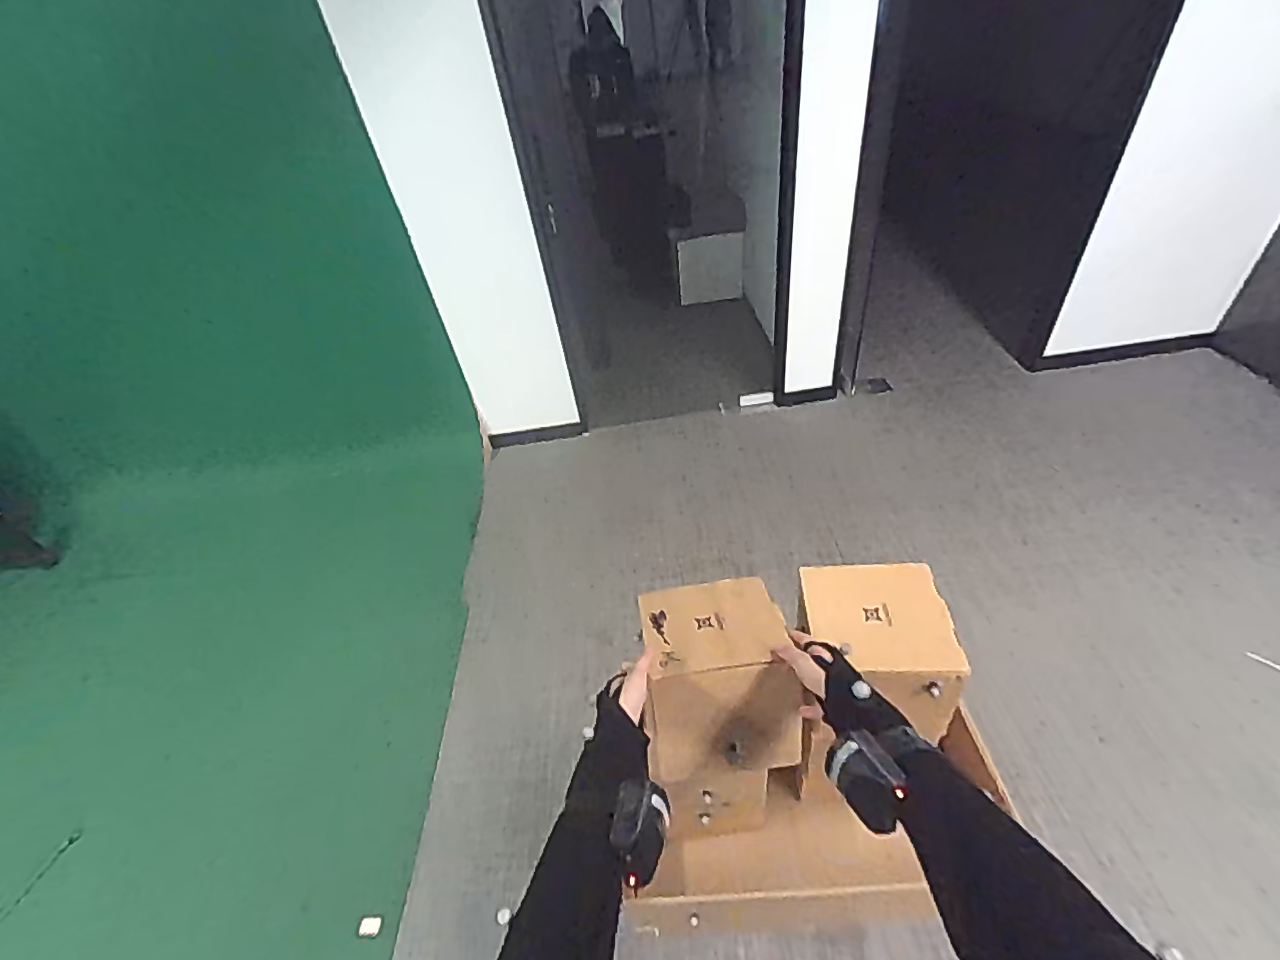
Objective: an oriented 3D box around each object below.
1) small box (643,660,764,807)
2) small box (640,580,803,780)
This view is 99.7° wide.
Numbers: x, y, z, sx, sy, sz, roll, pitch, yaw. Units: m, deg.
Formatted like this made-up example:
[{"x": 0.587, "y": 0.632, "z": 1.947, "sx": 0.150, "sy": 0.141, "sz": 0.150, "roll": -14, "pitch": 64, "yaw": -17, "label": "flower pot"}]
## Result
[{"x": 0.099, "y": 0.395, "z": 0.851, "sx": 0.168, "sy": 0.176, "sz": 0.179, "roll": -7, "pitch": 42, "yaw": 3, "label": "small box"}, {"x": 0.096, "y": 0.252, "z": 0.697, "sx": 0.179, "sy": 0.176, "sz": 0.168, "roll": -7, "pitch": 23, "yaw": -1, "label": "small box"}]
